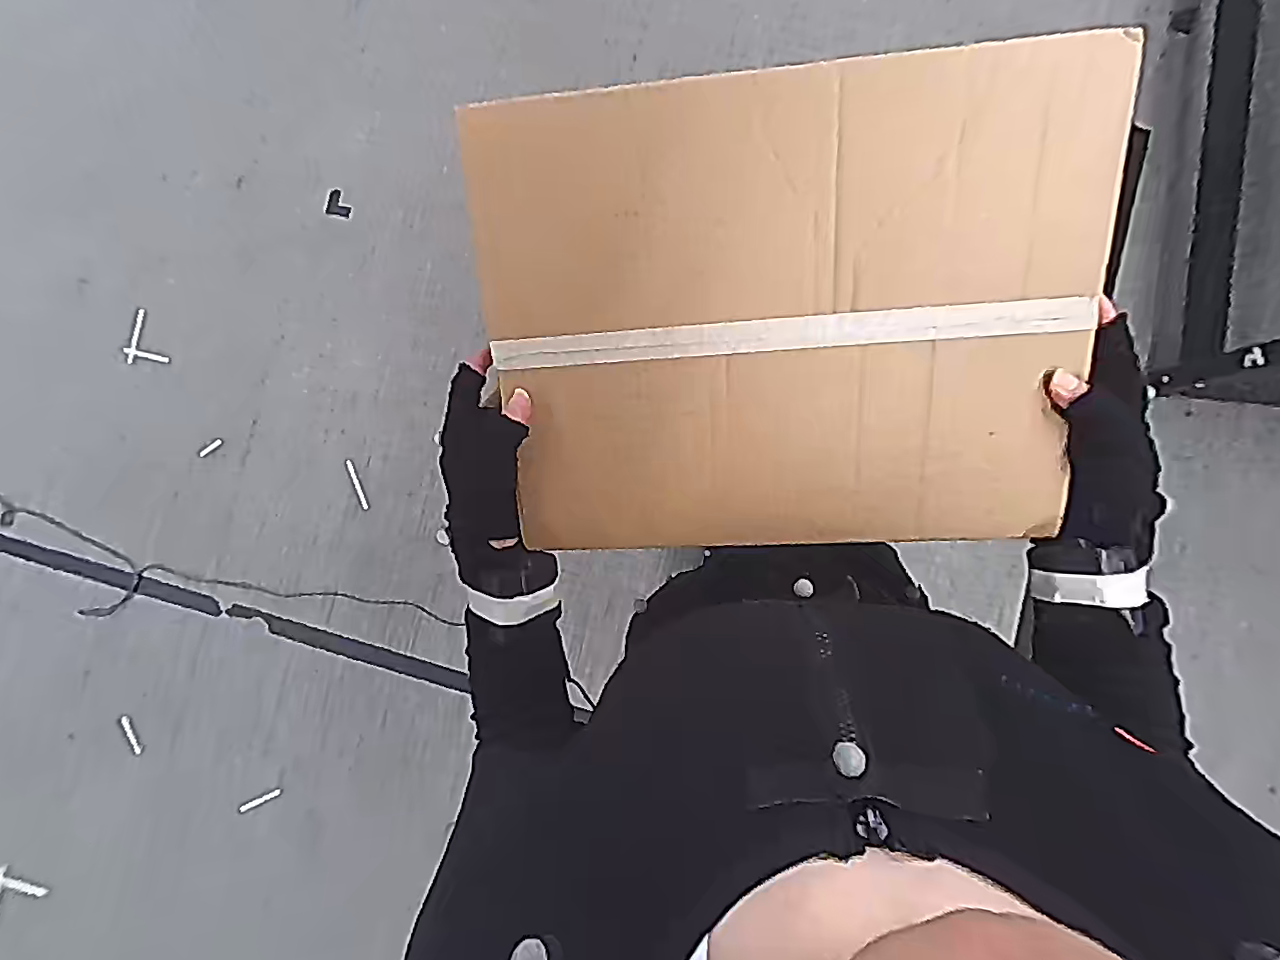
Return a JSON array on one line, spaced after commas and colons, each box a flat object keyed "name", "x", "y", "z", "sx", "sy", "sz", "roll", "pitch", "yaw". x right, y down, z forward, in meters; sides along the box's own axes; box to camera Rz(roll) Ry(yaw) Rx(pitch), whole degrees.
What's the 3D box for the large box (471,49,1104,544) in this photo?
[{"name": "large box", "x": 0.104, "y": -0.148, "z": 0.528, "sx": 0.408, "sy": 0.320, "sz": 0.320, "roll": -3, "pitch": 109, "yaw": 5}]
